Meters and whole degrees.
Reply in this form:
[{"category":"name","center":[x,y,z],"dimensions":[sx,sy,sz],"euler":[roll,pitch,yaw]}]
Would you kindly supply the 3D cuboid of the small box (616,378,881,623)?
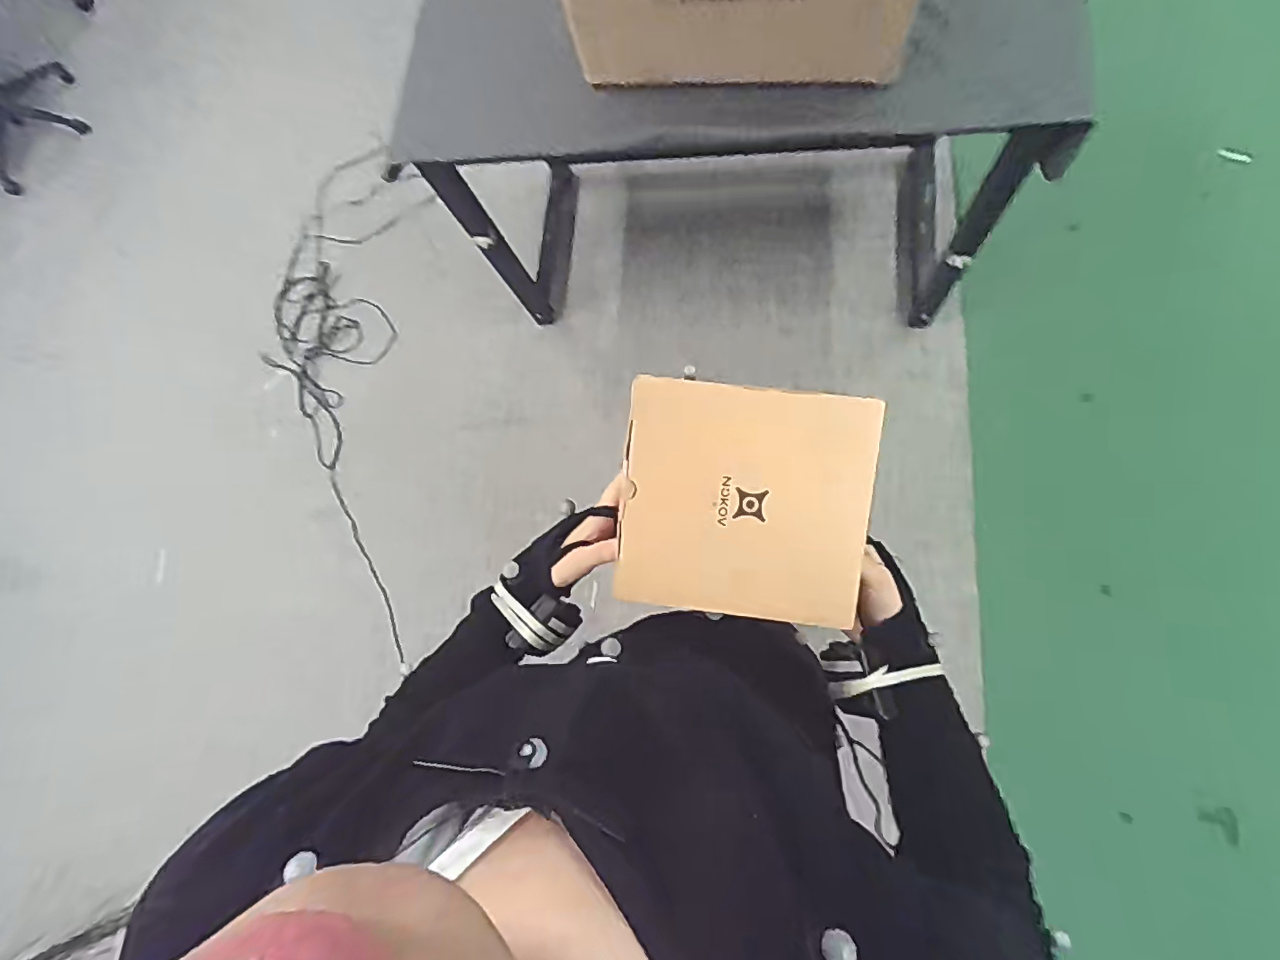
[{"category":"small box","center":[0.082,0.008,0.470],"dimensions":[0.179,0.176,0.168],"euler":[6,95,5]}]
